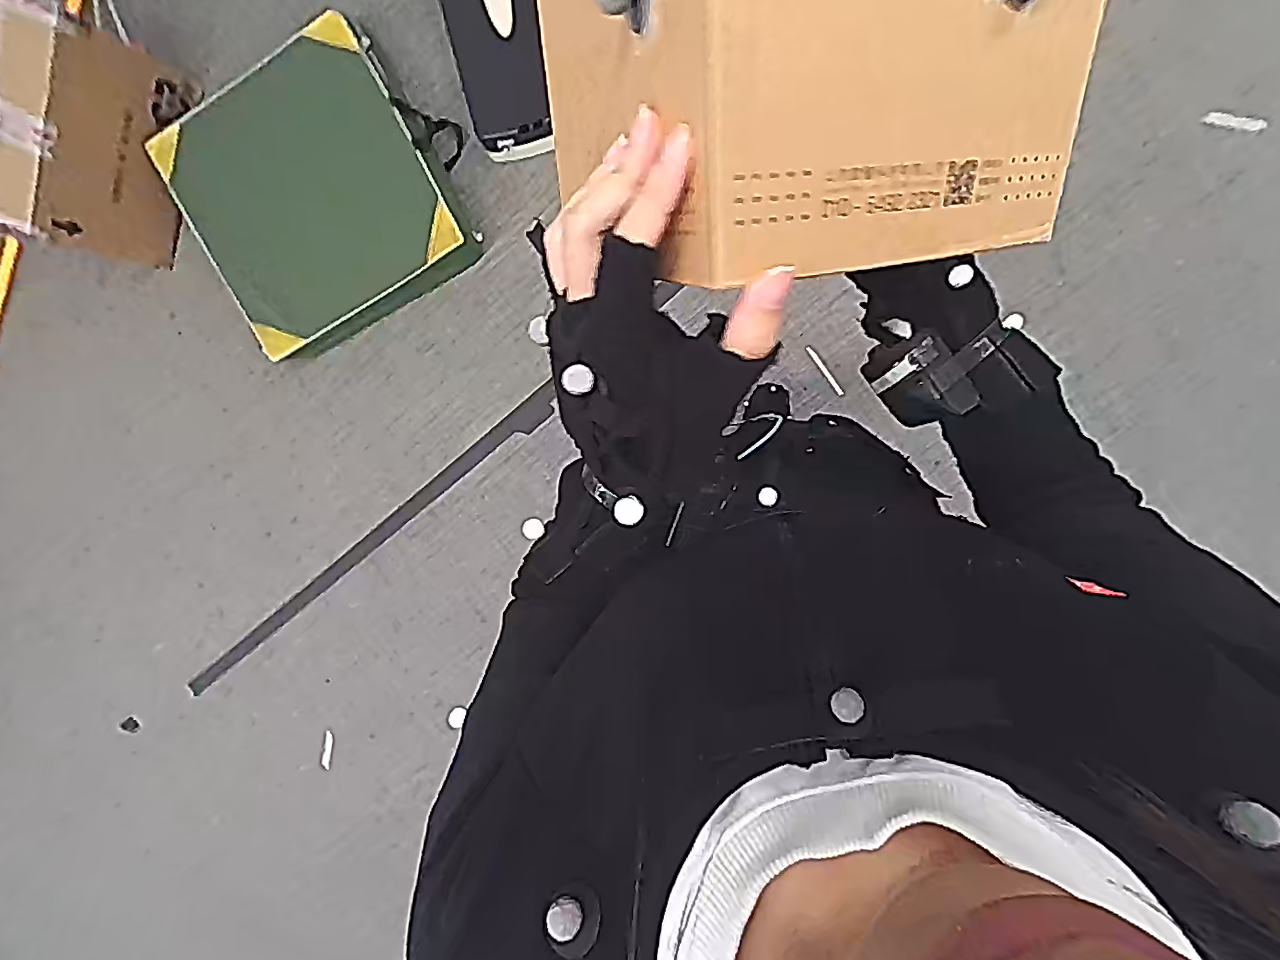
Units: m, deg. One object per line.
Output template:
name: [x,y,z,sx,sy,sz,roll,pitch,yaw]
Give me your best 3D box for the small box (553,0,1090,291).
small box: [0.065,-0.184,0.245,0.168,0.179,0.176,-13,117,-17]
